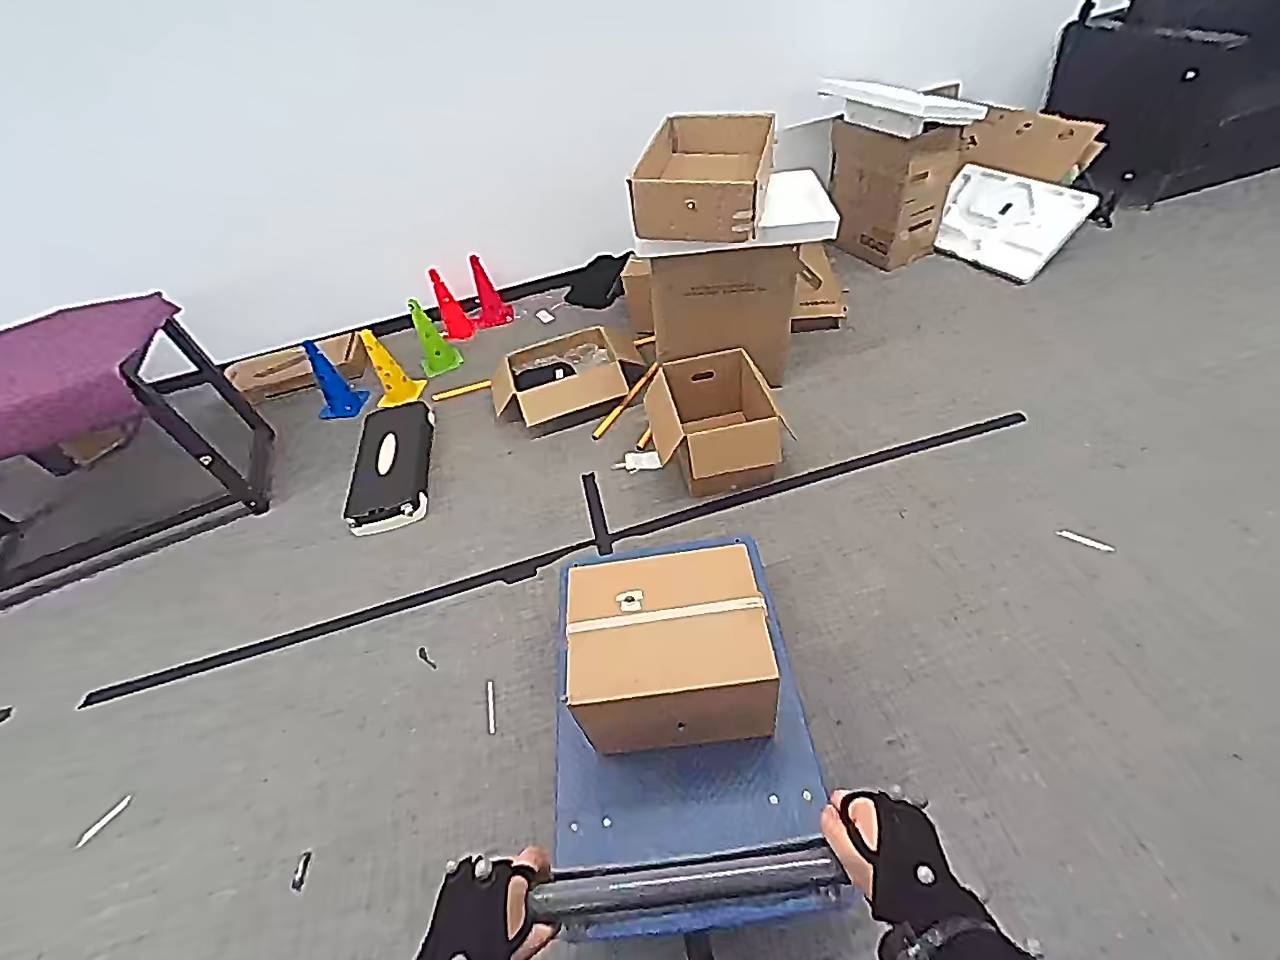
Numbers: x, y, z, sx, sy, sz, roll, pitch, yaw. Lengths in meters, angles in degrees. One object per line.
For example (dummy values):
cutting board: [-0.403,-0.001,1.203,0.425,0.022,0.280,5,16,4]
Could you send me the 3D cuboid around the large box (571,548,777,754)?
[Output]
large box: [0.074,0.397,1.238,0.408,0.320,0.320,-10,45,3]
